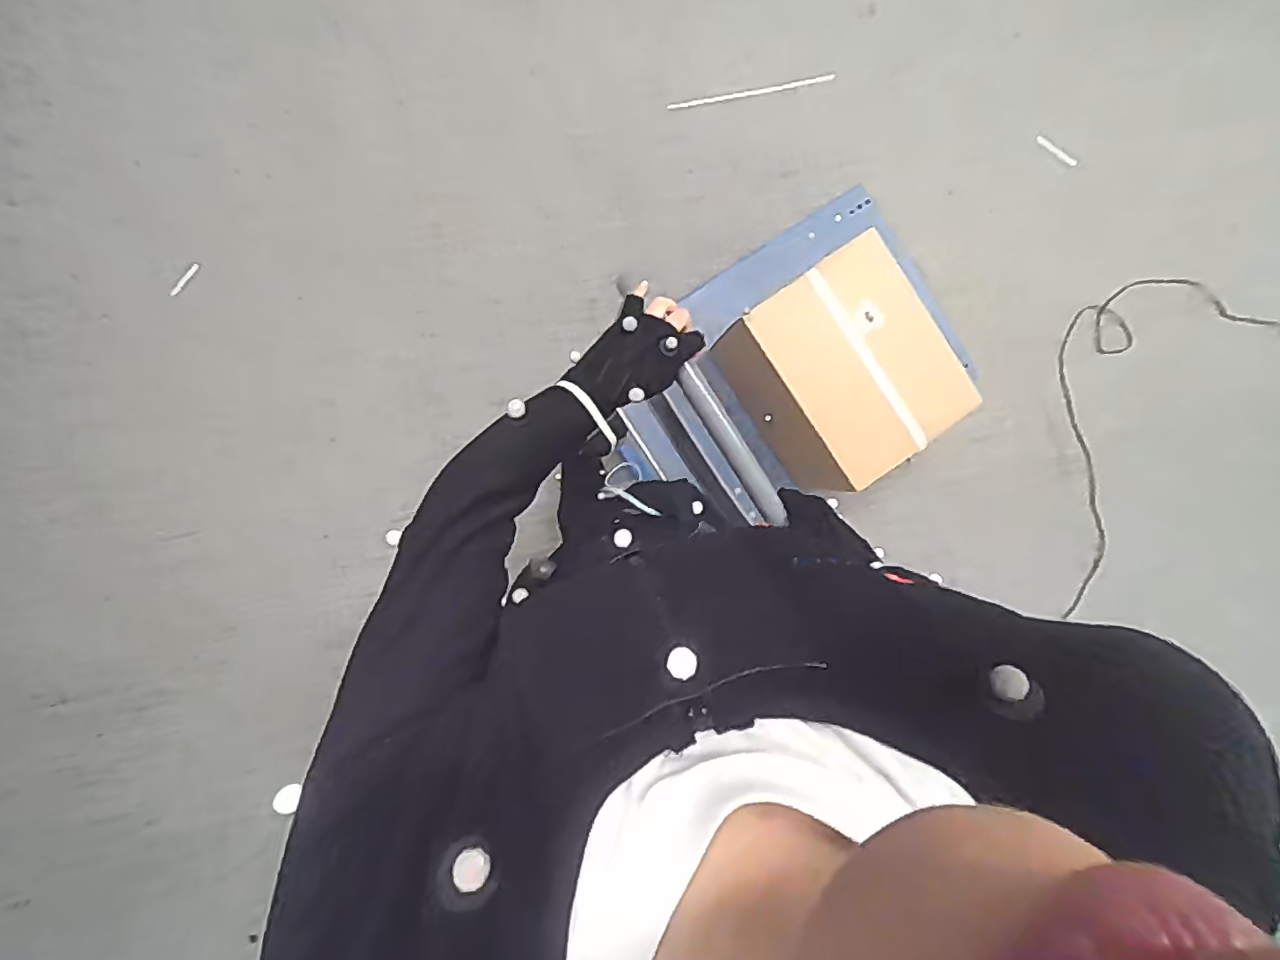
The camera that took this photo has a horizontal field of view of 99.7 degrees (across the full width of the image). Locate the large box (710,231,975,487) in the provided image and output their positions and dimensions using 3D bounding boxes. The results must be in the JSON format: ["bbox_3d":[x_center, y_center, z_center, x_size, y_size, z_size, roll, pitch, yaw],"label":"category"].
[{"bbox_3d":[0.410,-0.232,1.183,0.320,0.320,0.408,-34,92,-4],"label":"large box"}]
